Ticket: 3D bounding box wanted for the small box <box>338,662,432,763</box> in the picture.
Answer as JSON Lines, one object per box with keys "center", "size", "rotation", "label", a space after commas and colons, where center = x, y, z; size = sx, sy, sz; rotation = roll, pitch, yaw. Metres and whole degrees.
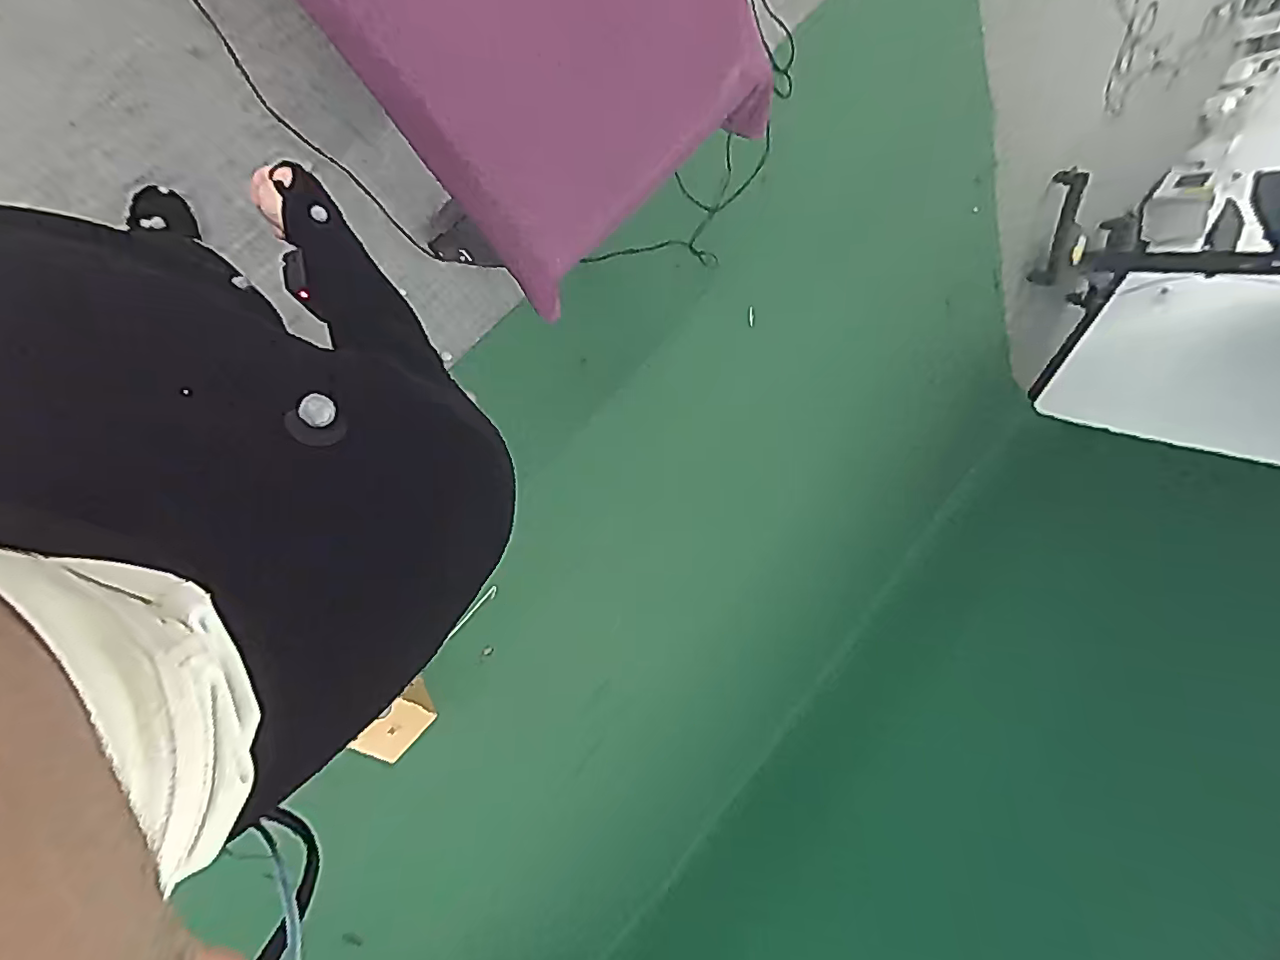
{"center": [-0.740, 0.666, 1.559], "size": [0.179, 0.176, 0.168], "rotation": [-47, 129, -11], "label": "small box"}
